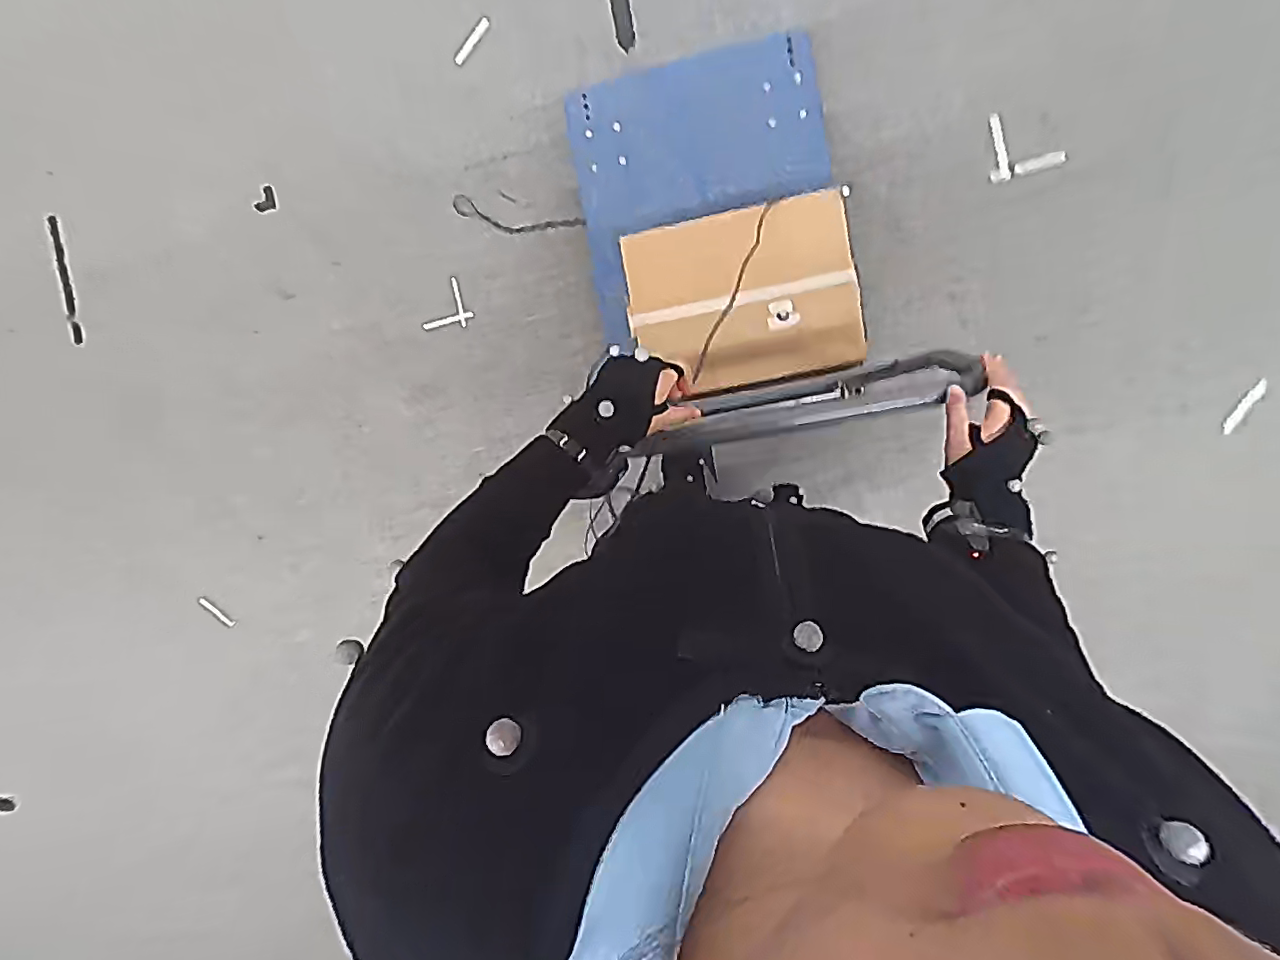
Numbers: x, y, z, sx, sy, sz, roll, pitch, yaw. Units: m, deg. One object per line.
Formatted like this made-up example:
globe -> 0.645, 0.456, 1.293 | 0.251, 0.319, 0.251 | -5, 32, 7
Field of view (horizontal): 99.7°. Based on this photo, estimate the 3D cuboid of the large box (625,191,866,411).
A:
large box -> 0.206, -0.343, 1.145 | 0.408, 0.320, 0.320 | -10, 94, 7
